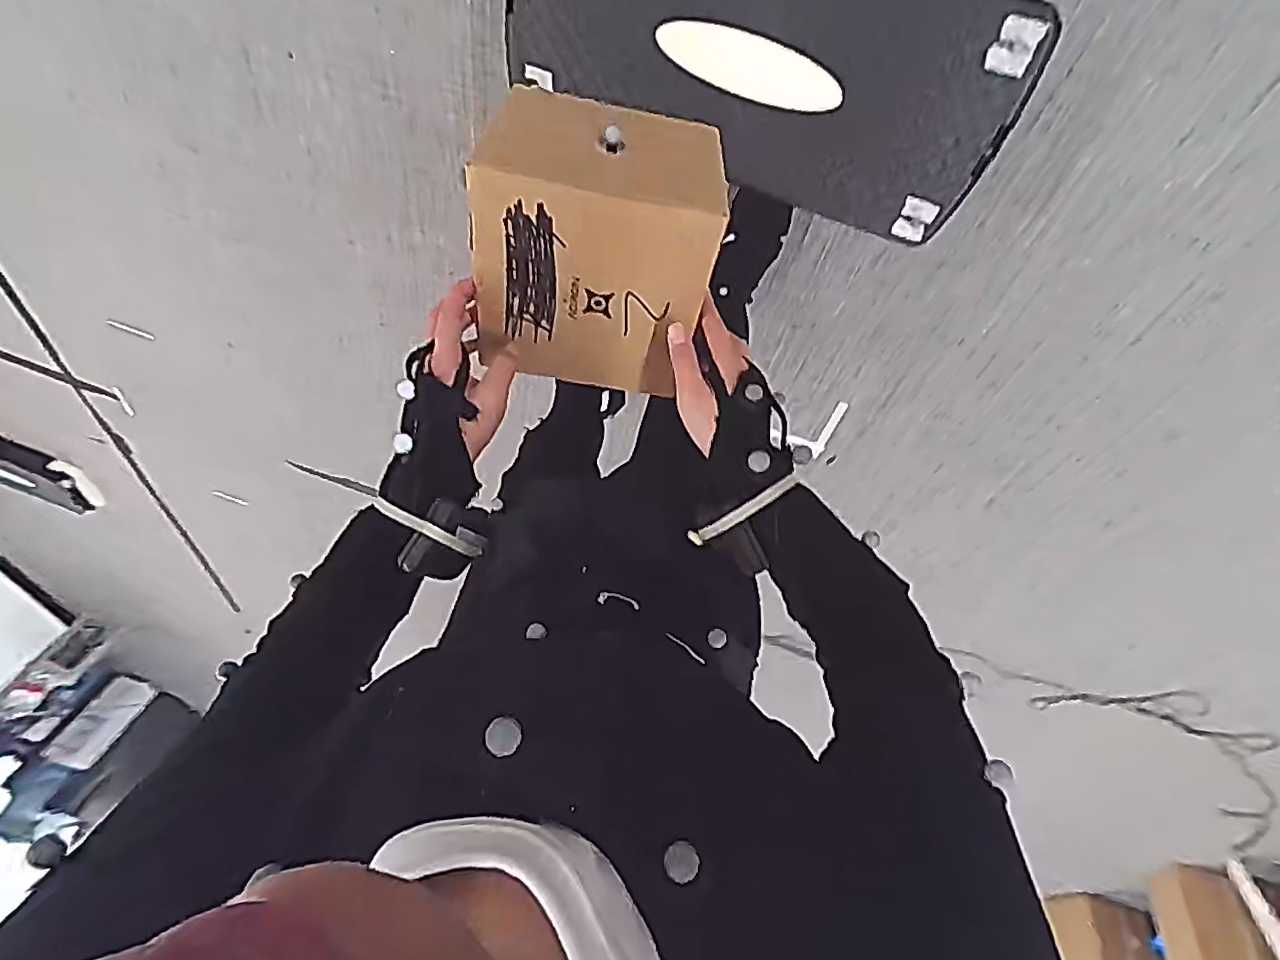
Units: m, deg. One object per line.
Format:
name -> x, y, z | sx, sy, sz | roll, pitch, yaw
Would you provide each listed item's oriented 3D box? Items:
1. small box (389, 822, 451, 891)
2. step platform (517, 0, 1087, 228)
small box -> -0.846, 1.456, 2.093 | 0.168, 0.176, 0.179 | 22, 136, -2
step platform -> 0.179, -0.597, 0.727 | 0.684, 0.204, 0.286 | 20, 136, 1
